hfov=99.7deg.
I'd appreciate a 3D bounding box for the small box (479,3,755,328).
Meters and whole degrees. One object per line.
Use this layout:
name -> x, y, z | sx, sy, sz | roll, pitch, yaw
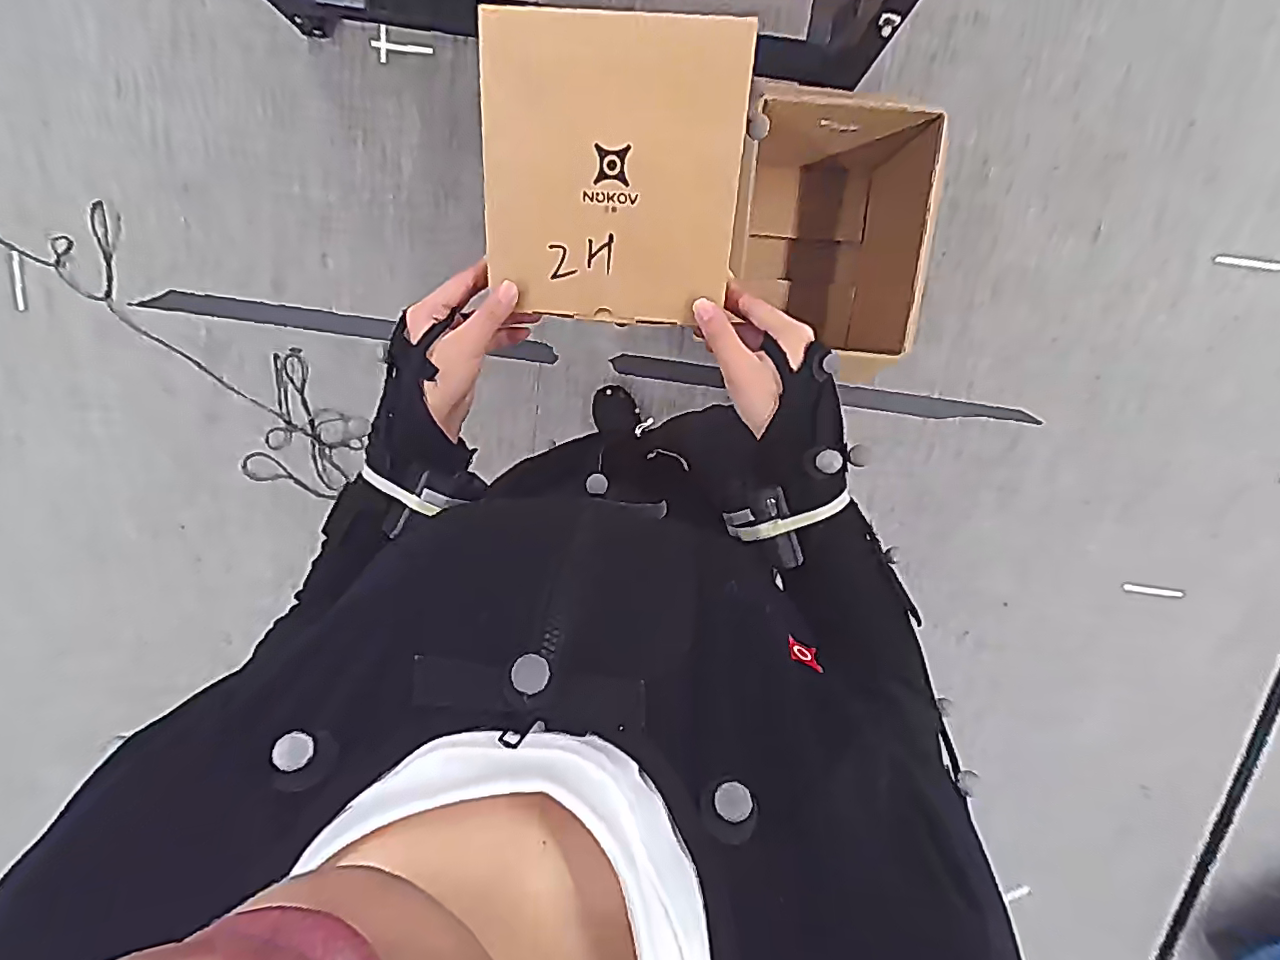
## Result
small box -> -0.013, -0.223, 0.418 | 0.168, 0.176, 0.179 | 5, 114, 4
